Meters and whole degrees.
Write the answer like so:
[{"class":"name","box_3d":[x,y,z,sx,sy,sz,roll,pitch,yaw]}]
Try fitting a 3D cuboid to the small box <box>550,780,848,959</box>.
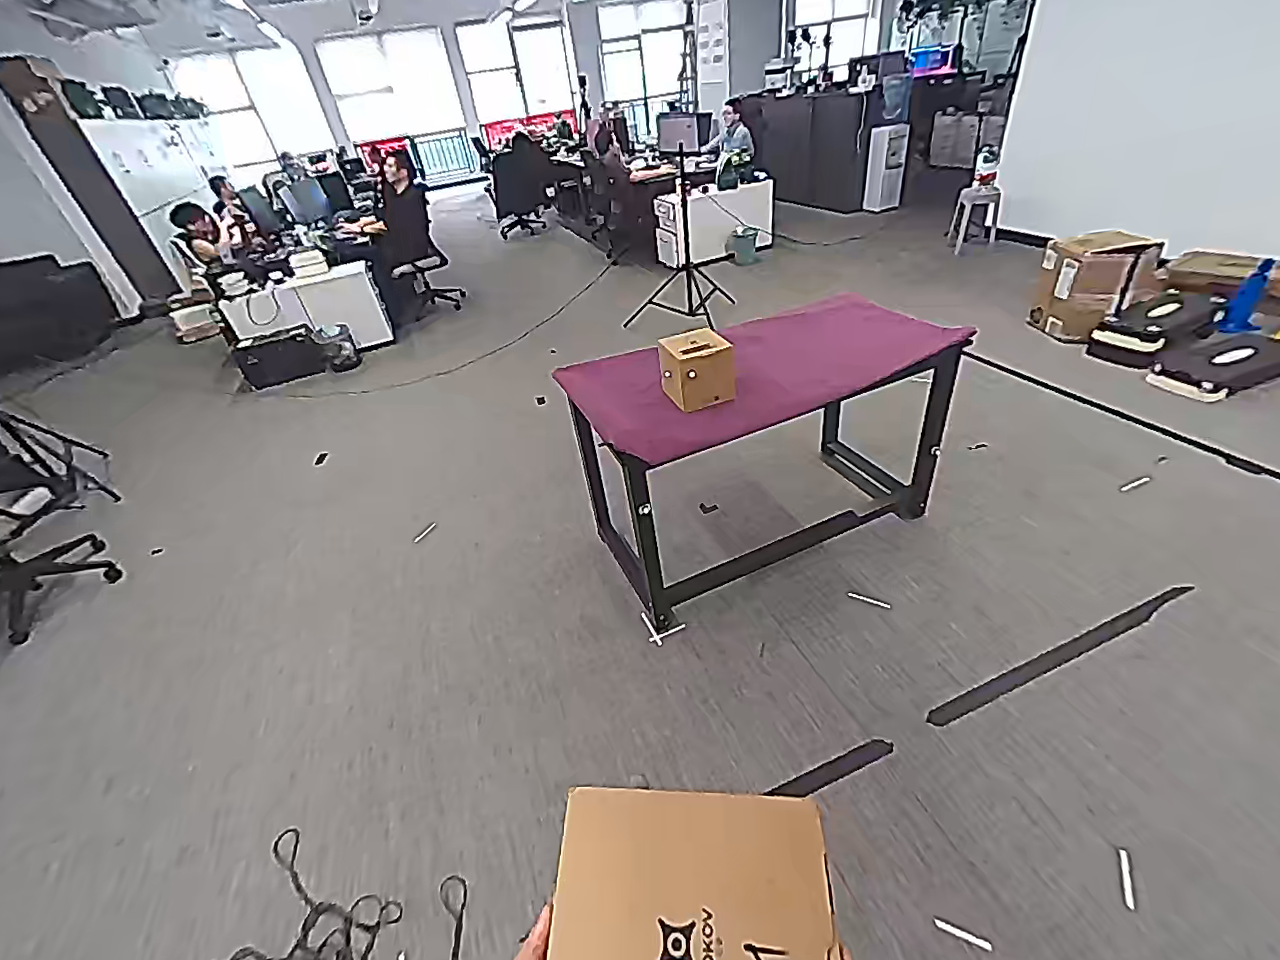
[{"class":"small box","box_3d":[0.042,0.326,0.380,0.179,0.176,0.168,0,50,7]}]
